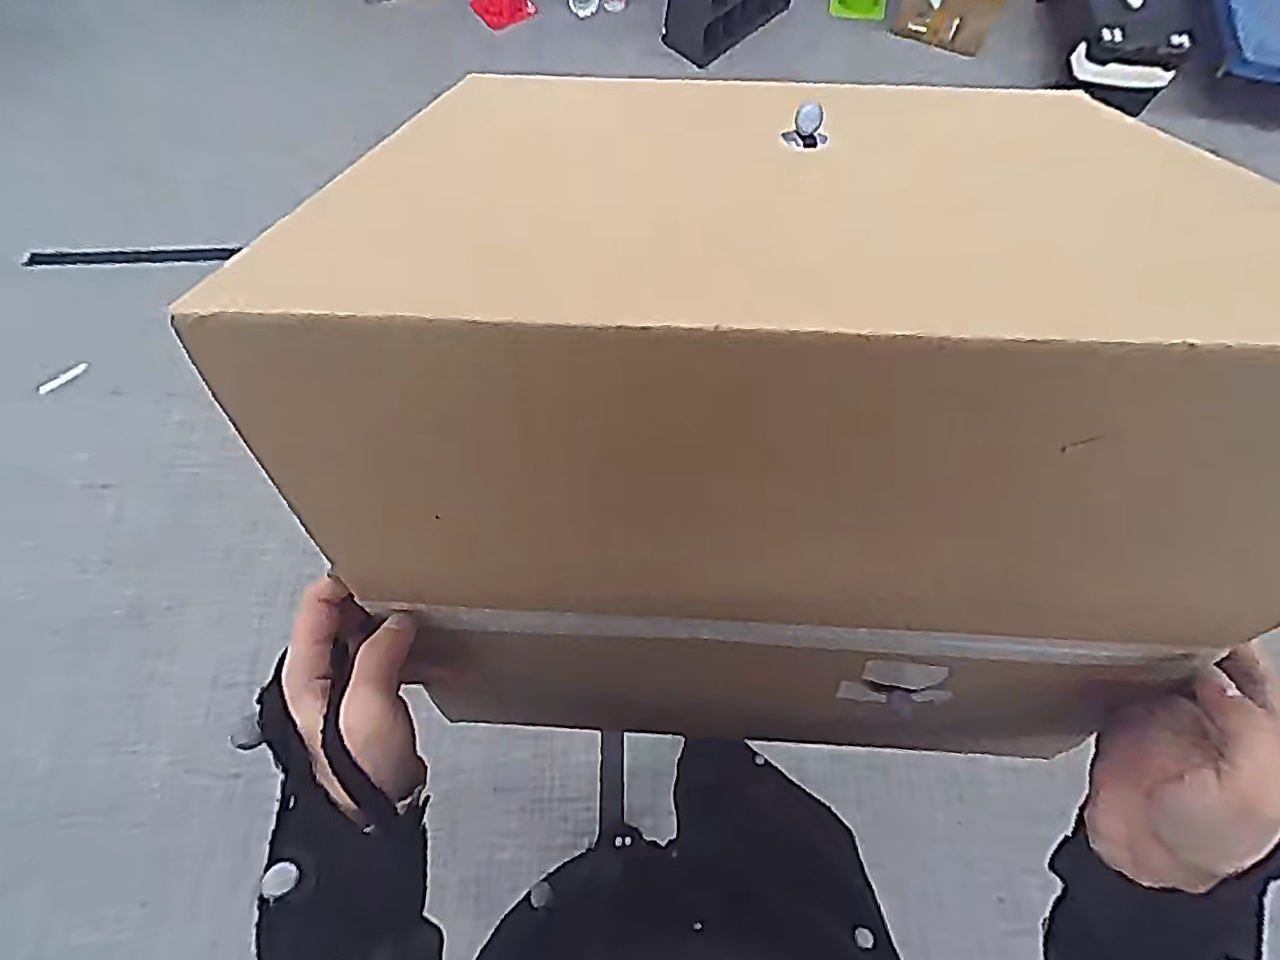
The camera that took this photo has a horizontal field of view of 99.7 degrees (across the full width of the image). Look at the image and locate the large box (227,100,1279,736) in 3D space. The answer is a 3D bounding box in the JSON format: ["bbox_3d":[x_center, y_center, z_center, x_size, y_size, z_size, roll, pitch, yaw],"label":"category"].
[{"bbox_3d":[0.072,-0.043,0.369,0.408,0.320,0.320,1,48,2],"label":"large box"}]
